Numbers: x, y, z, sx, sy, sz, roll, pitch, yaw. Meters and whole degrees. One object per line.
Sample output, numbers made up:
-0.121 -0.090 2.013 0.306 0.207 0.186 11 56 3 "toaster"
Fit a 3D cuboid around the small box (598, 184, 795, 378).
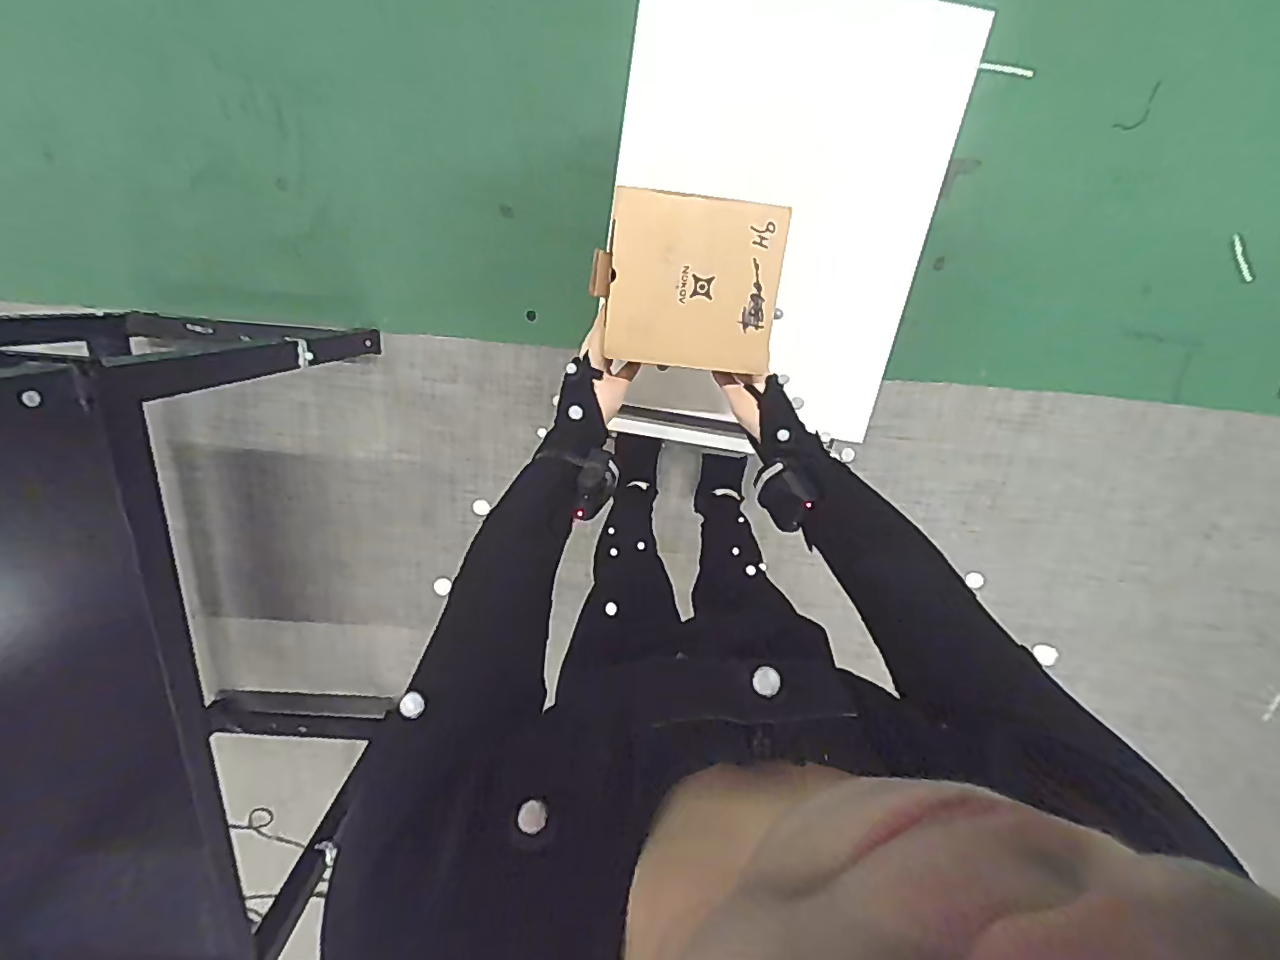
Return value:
0.052 -0.215 0.610 0.179 0.176 0.168 6 107 -3 "small box"
